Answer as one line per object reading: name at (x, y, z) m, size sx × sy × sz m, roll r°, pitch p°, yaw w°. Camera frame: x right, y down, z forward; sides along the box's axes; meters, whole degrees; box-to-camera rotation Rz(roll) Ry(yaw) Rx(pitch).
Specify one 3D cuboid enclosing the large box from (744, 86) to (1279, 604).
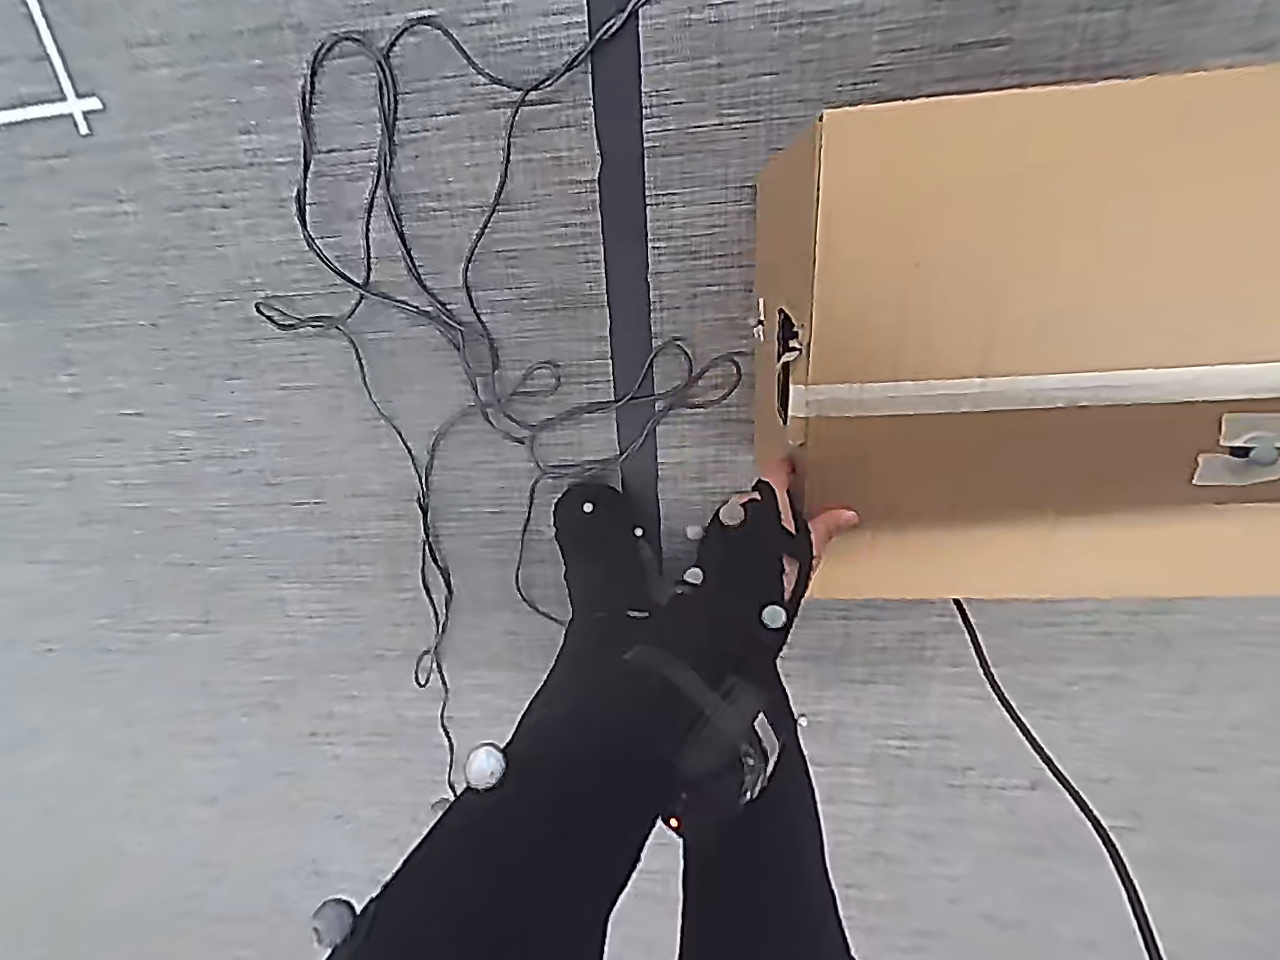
large box at (0.312, -0.114, 0.473) m, size 0.408 × 0.320 × 0.320 m, roll -3°, pitch 114°, yaw 5°
